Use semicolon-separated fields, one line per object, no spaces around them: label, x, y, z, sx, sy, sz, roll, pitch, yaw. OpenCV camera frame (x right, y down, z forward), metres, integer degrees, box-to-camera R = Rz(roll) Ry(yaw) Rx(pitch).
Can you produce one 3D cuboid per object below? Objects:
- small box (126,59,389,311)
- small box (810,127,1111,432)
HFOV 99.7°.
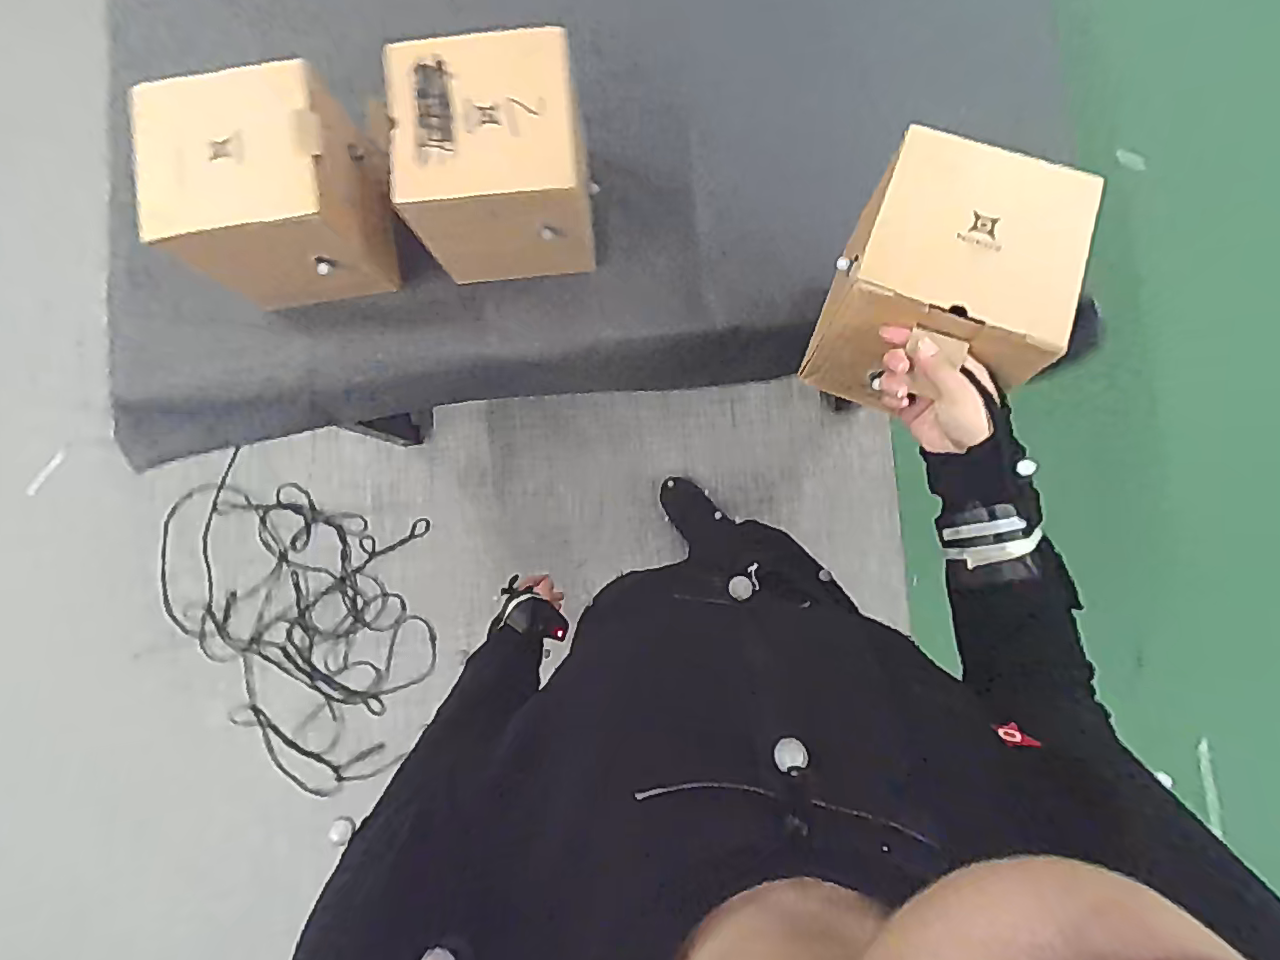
small box;-0.398;-0.306;0.595;0.179;0.176;0.168;-10;84;1
small box;0.279;-0.173;0.506;0.168;0.176;0.179;22;74;7
